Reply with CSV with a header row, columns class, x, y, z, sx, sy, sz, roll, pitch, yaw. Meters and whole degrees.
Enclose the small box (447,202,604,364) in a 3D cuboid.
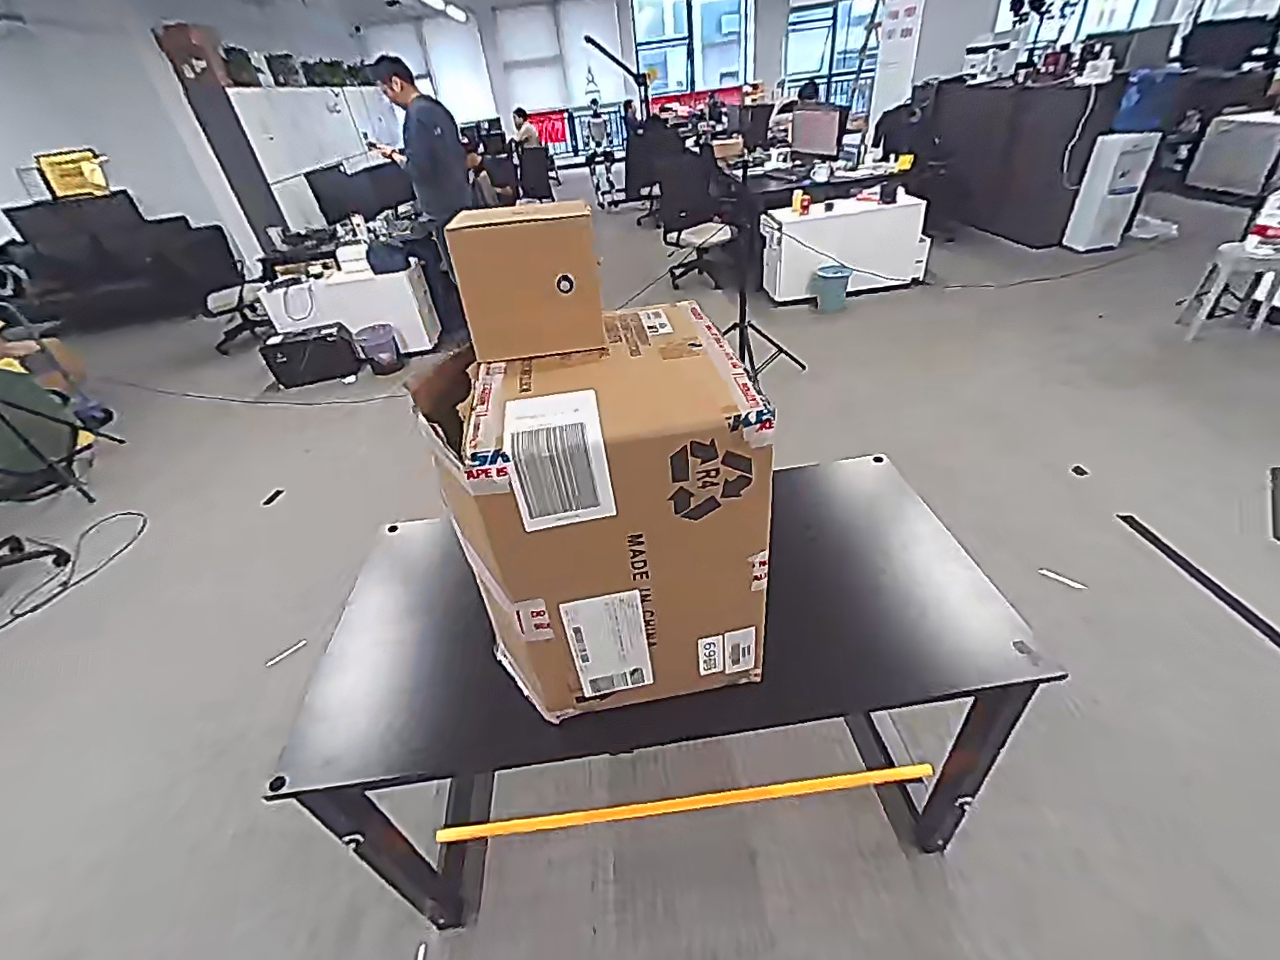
class,x,y,z,sx,sy,sz,roll,pitch,yaw
small box,-0.147,-0.276,0.753,0.179,0.176,0.168,-9,33,-4
